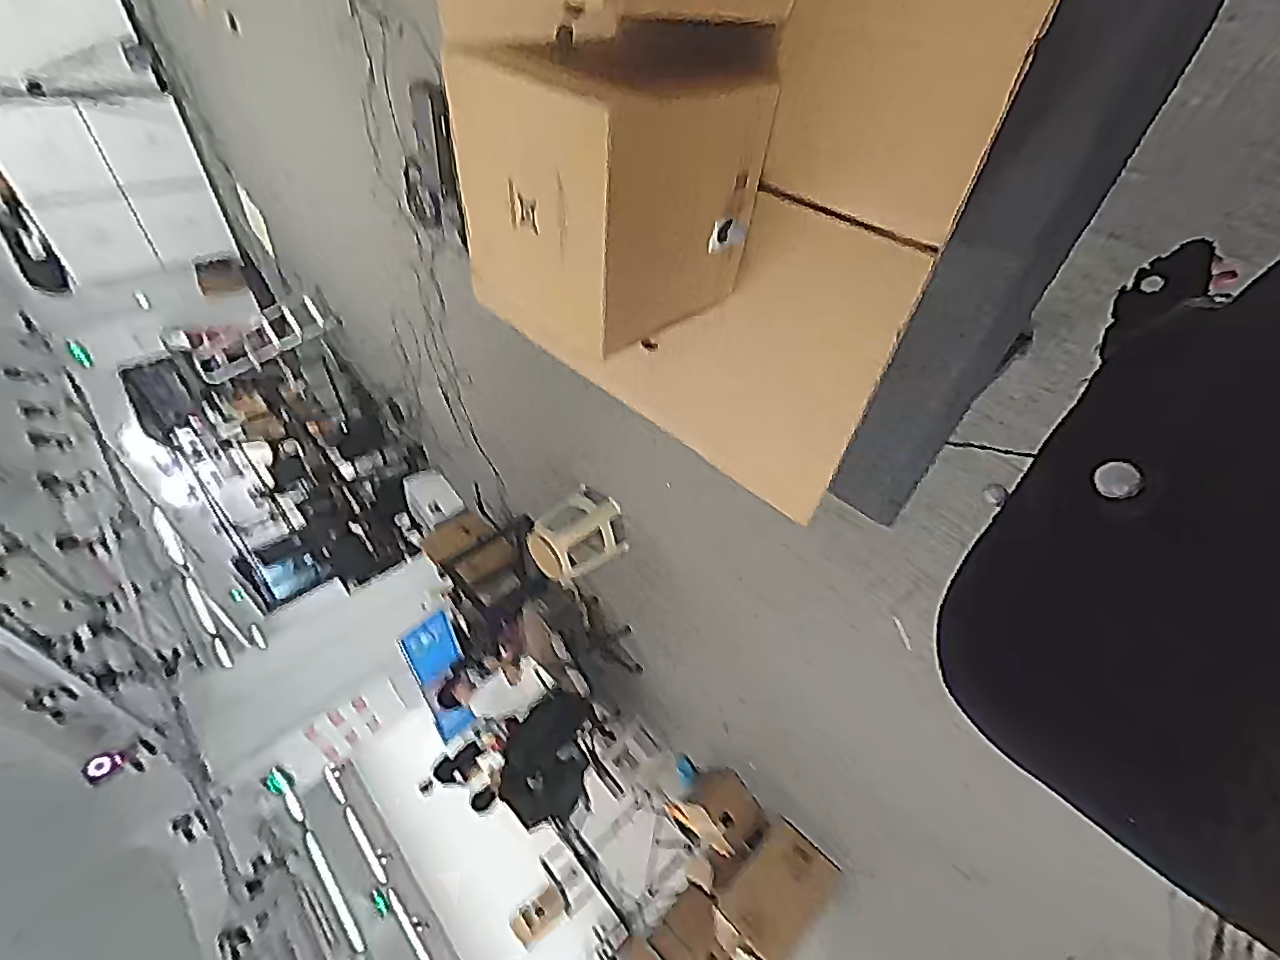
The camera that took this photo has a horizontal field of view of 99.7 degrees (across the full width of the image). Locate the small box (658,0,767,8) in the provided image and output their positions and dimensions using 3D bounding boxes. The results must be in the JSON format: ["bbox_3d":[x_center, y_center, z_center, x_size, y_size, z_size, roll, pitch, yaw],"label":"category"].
[{"bbox_3d":[-0.012,-0.382,0.298,0.179,0.176,0.168,39,142,28],"label":"small box"}]

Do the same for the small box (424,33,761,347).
[{"bbox_3d":[-0.036,-0.237,0.428,0.179,0.176,0.168,36,143,27],"label":"small box"}]
